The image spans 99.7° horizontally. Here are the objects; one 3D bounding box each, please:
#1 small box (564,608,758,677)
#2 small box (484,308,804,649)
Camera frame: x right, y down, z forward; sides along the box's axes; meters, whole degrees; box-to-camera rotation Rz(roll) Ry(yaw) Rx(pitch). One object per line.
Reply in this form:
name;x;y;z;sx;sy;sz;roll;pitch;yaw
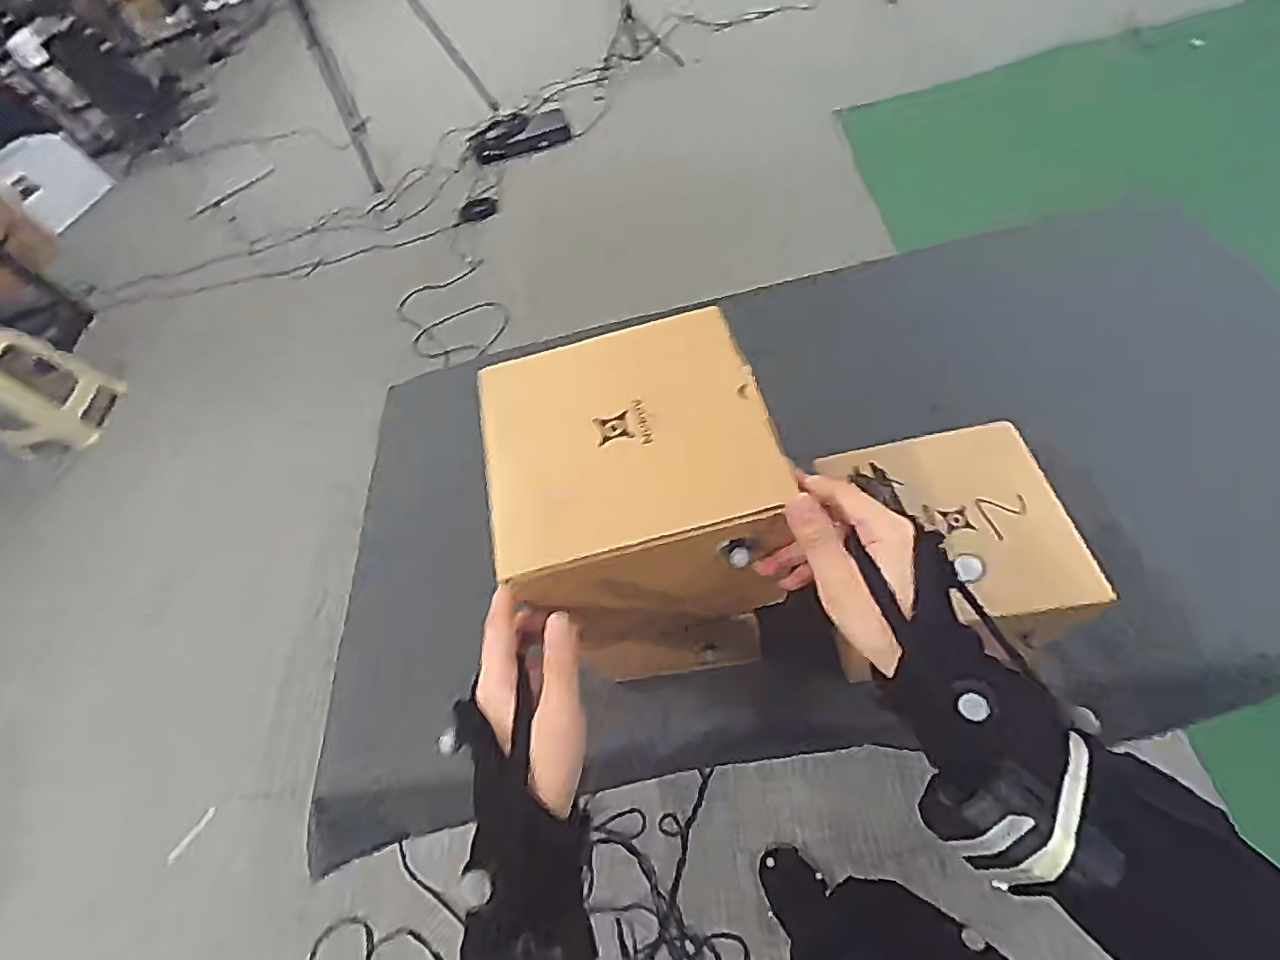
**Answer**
small box;0.024;0.095;0.561;0.168;0.176;0.179;-11;56;7
small box;0.004;0.011;0.402;0.179;0.176;0.168;-16;58;1
